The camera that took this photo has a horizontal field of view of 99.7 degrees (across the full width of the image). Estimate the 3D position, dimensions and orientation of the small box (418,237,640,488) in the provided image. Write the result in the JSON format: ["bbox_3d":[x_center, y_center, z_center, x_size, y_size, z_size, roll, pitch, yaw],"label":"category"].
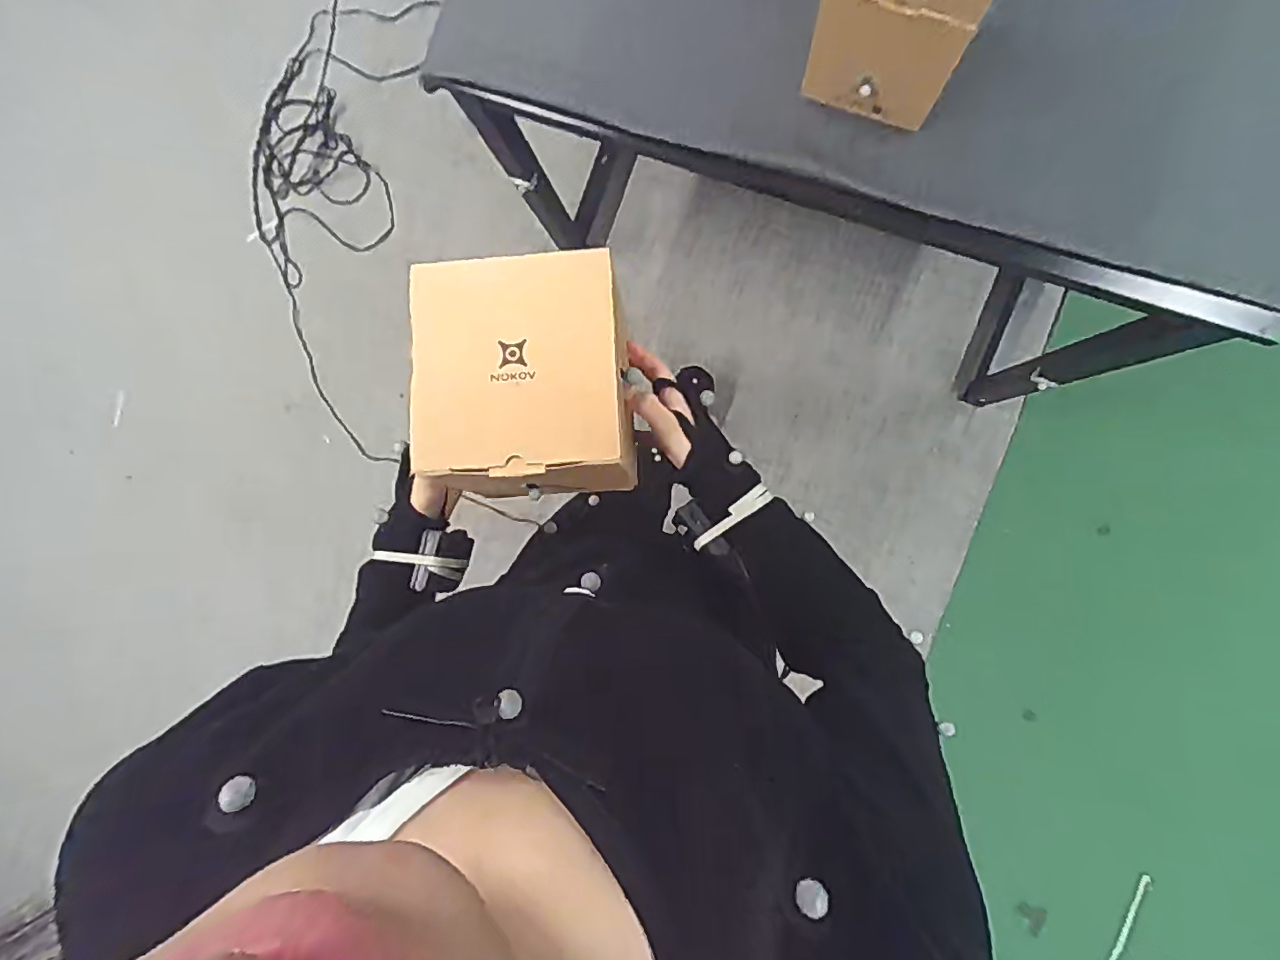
[{"bbox_3d":[-0.088,-0.093,0.499,0.168,0.176,0.179,-4,83,2],"label":"small box"}]

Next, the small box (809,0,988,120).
[{"bbox_3d":[0.314,-0.578,0.633,0.168,0.176,0.179,23,93,7],"label":"small box"}]
